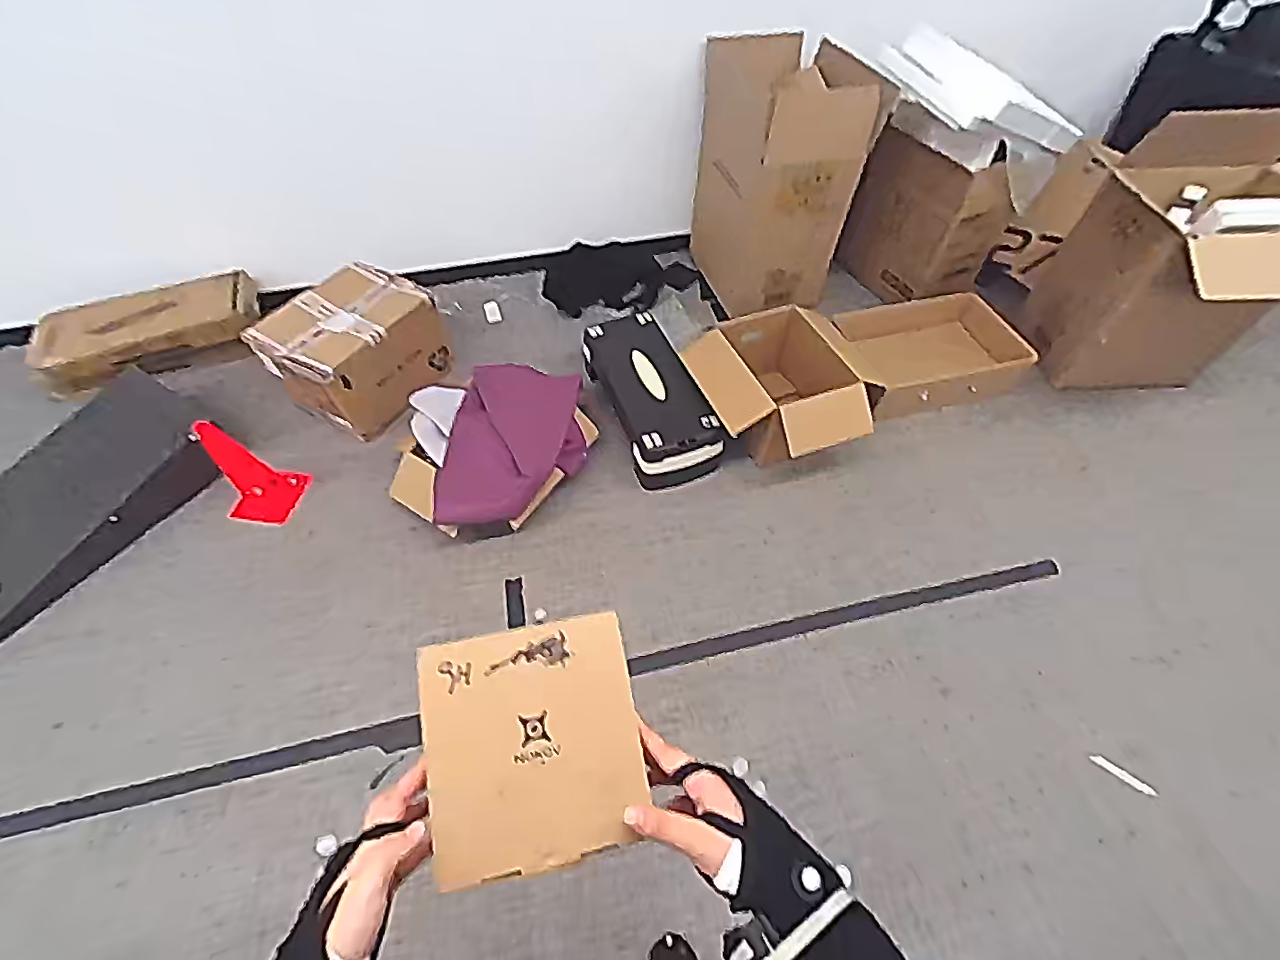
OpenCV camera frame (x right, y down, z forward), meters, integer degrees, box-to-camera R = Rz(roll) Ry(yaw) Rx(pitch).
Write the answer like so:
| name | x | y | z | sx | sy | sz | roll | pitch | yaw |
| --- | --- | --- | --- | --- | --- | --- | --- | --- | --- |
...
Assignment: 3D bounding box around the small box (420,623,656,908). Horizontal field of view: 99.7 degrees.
| name | x | y | z | sx | sy | sz | roll | pitch | yaw |
| --- | --- | --- | --- | --- | --- | --- | --- | --- | --- |
| small box | -0.090 | 0.235 | 0.495 | 0.168 | 0.176 | 0.179 | -8 | 74 | -11 |
